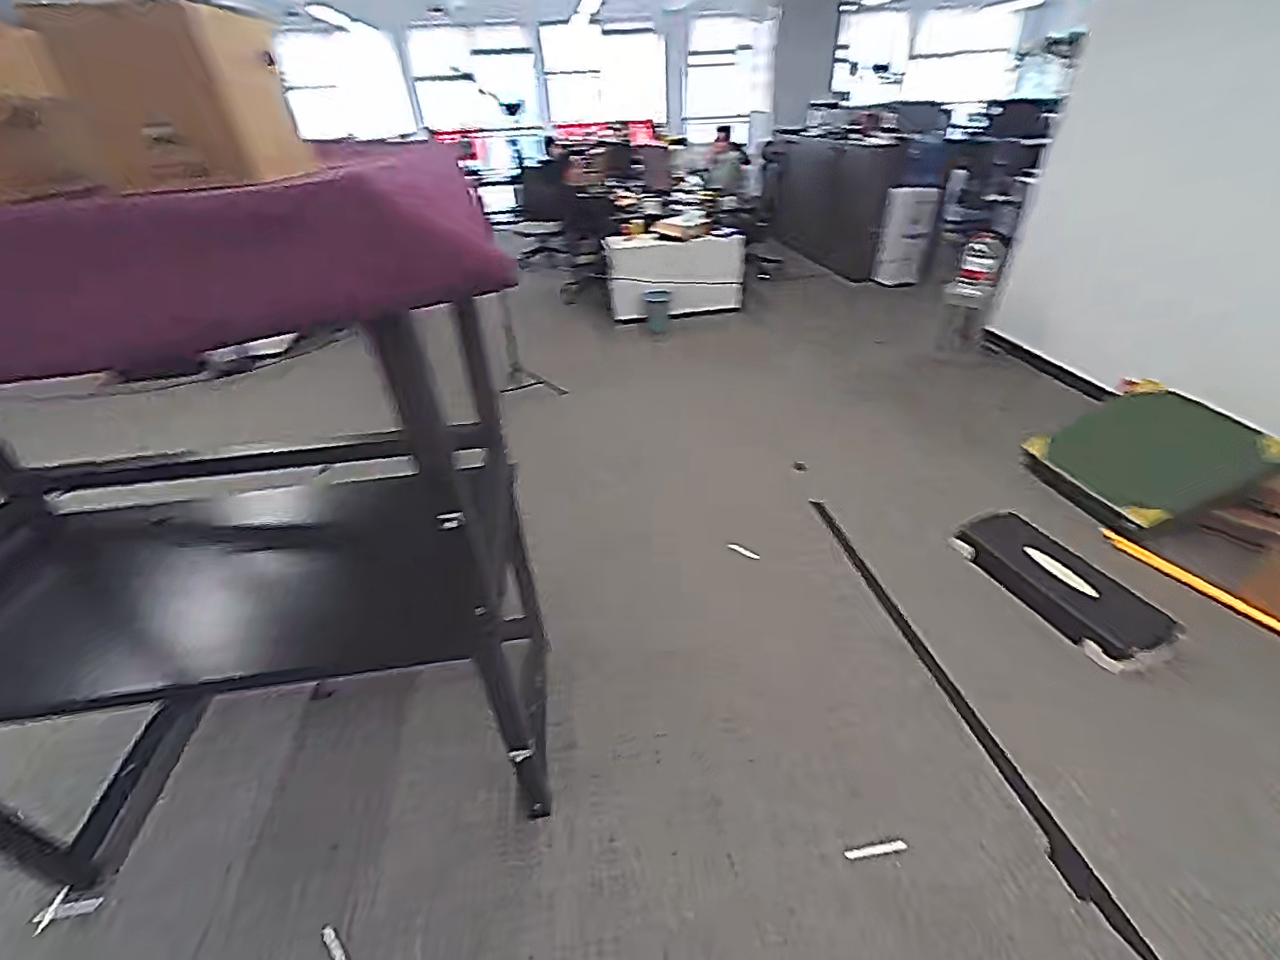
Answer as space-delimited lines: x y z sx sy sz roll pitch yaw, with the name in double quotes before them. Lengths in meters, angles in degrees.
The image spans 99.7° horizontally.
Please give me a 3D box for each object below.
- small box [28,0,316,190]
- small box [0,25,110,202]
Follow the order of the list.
"small box" -0.522 -0.449 0.643 0.168 0.176 0.179 -6 35 -2
"small box" -0.788 -0.414 0.618 0.179 0.176 0.168 -4 34 -3
